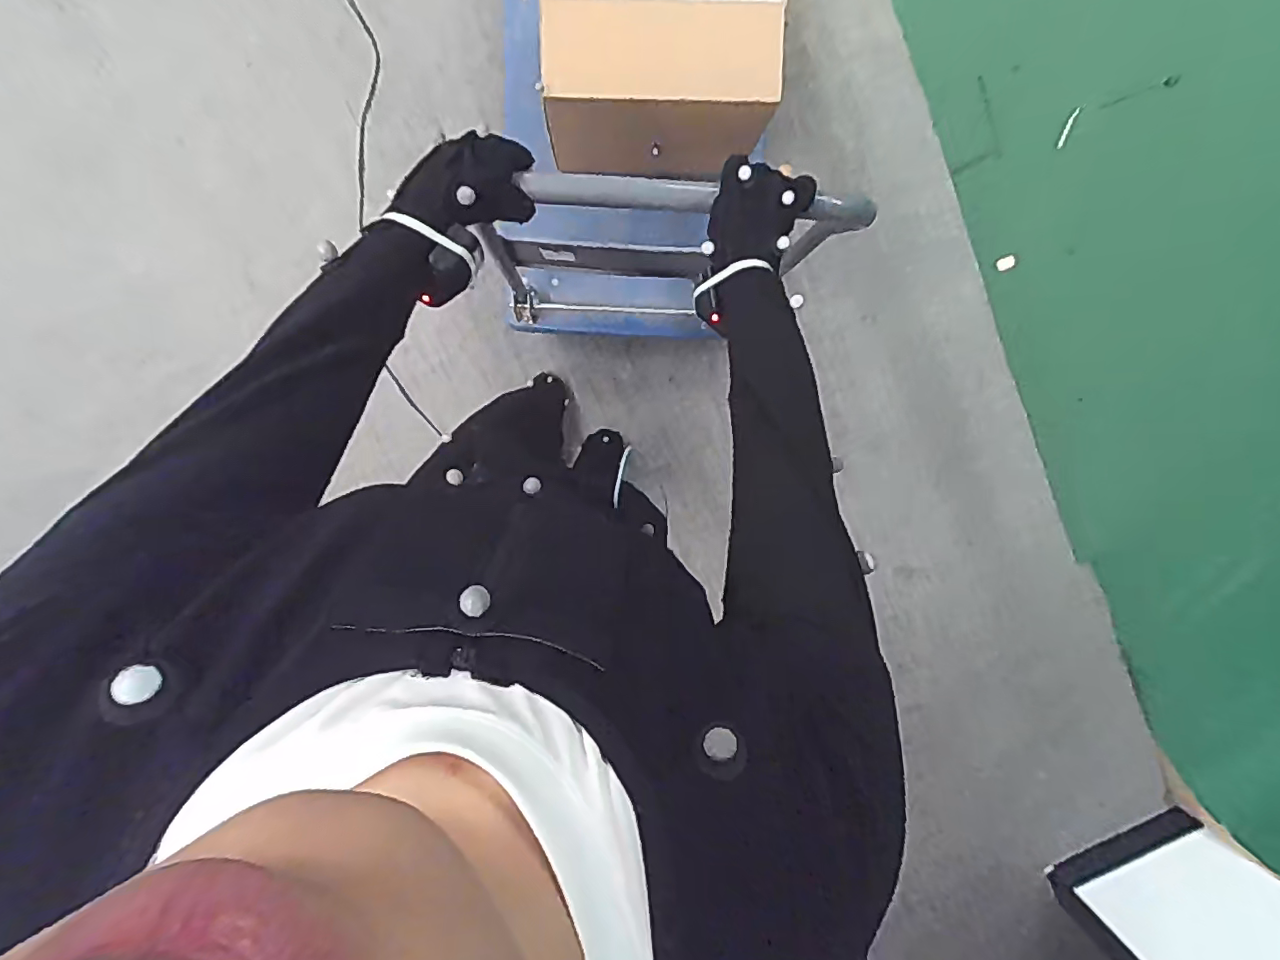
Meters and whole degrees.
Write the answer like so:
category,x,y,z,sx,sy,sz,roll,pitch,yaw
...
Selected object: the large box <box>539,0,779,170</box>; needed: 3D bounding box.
category,x,y,z,sx,sy,sz,roll,pitch,yaw
large box,0.027,-0.816,1.032,0.408,0.320,0.320,-1,98,-3
